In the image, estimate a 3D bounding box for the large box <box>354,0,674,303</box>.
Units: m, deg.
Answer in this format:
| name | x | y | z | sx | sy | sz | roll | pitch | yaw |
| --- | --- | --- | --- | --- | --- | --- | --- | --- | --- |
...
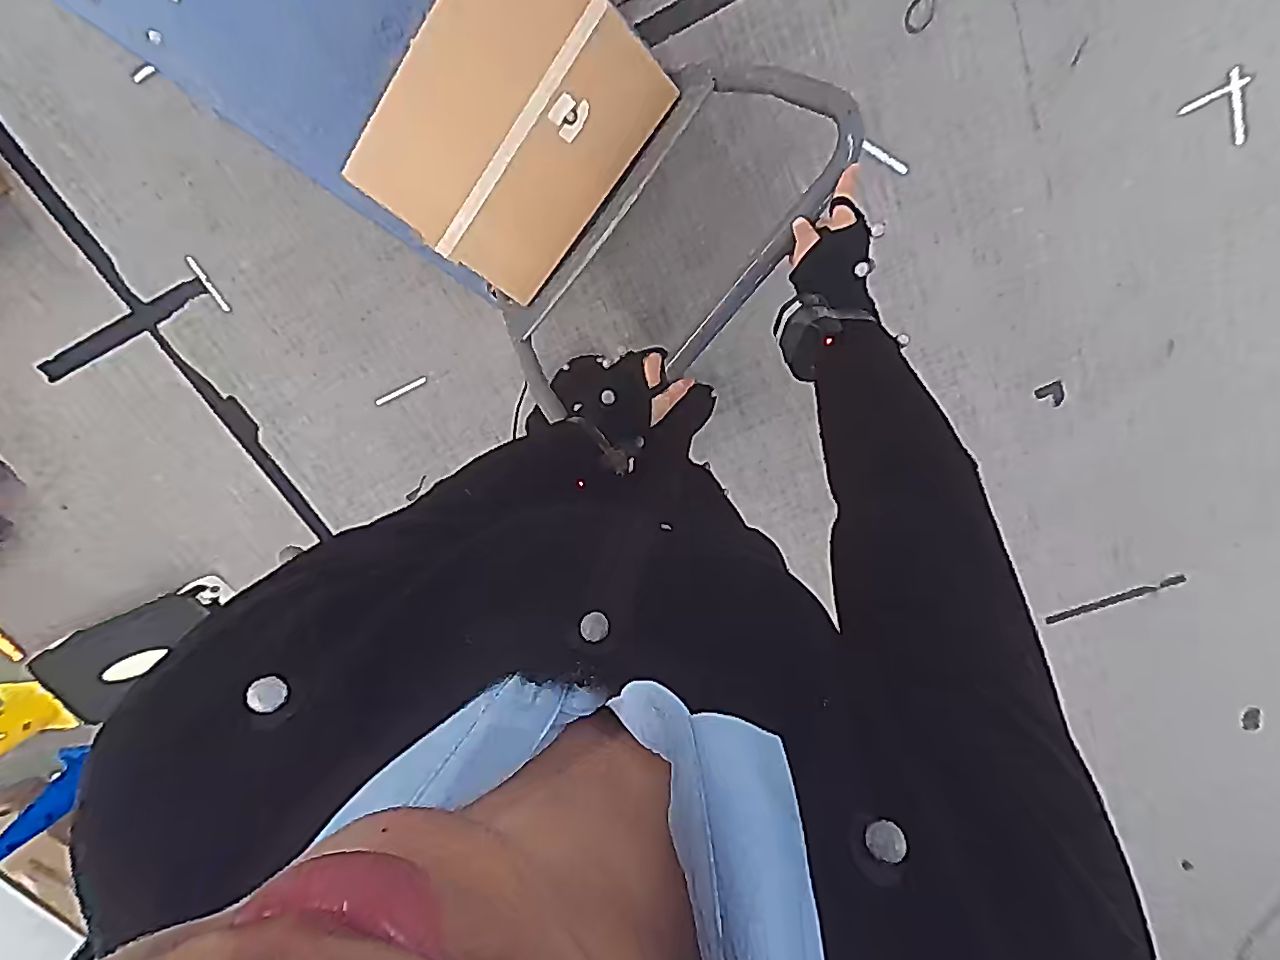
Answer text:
| name | x | y | z | sx | sy | sz | roll | pitch | yaw |
| --- | --- | --- | --- | --- | --- | --- | --- | --- | --- |
| large box | -0.218 | -0.586 | 0.911 | 0.320 | 0.320 | 0.408 | 30 | 109 | -33 |
